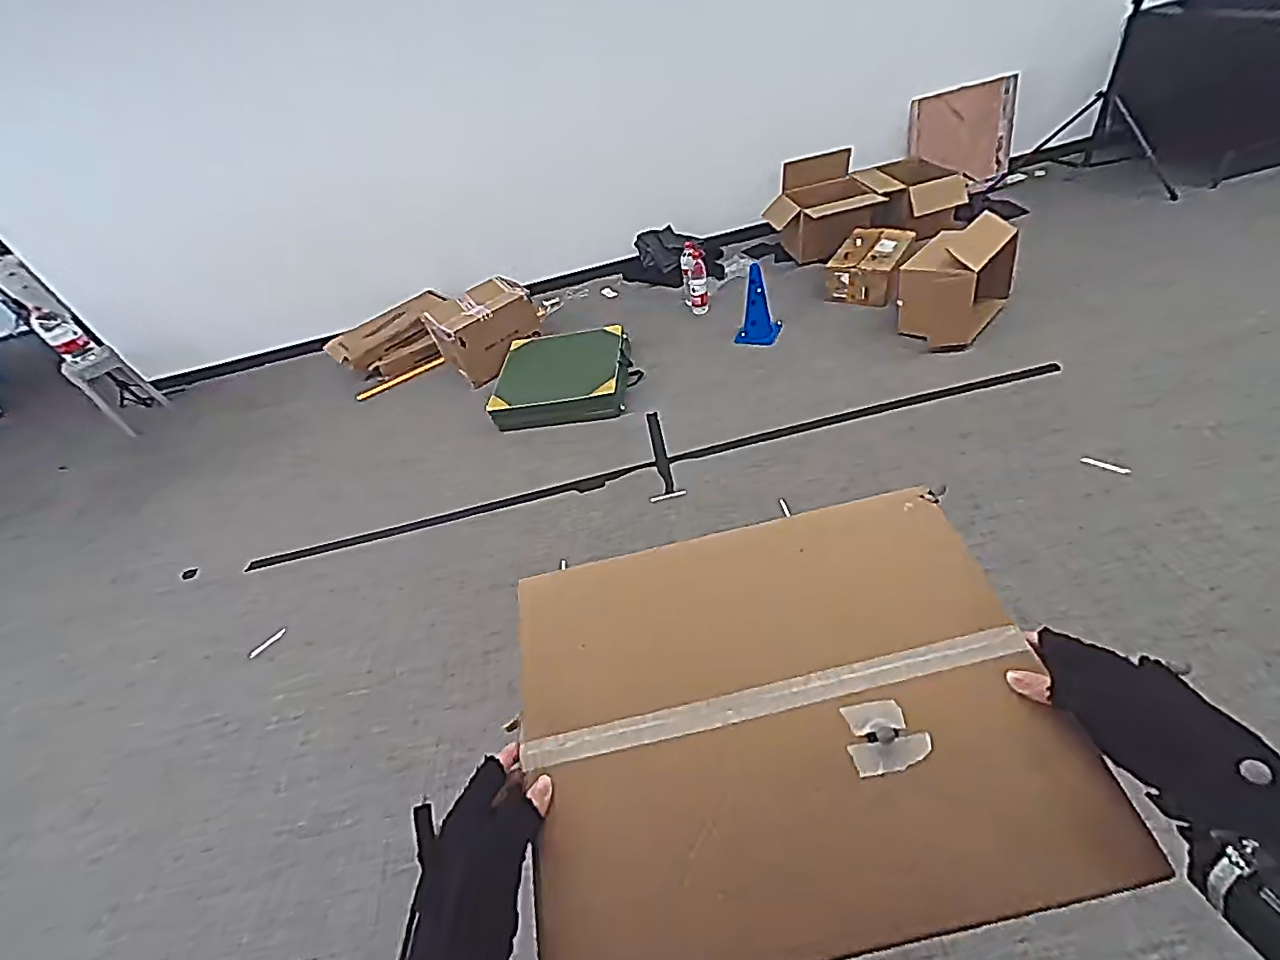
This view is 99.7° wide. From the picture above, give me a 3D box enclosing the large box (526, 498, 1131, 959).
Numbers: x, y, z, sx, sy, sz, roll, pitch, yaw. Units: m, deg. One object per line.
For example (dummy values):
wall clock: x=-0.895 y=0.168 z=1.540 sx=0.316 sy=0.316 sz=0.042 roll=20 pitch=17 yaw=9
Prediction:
large box: x=0.128 y=0.271 z=0.563 sx=0.408 sy=0.320 sz=0.320 roll=-13 pitch=53 yaw=0
